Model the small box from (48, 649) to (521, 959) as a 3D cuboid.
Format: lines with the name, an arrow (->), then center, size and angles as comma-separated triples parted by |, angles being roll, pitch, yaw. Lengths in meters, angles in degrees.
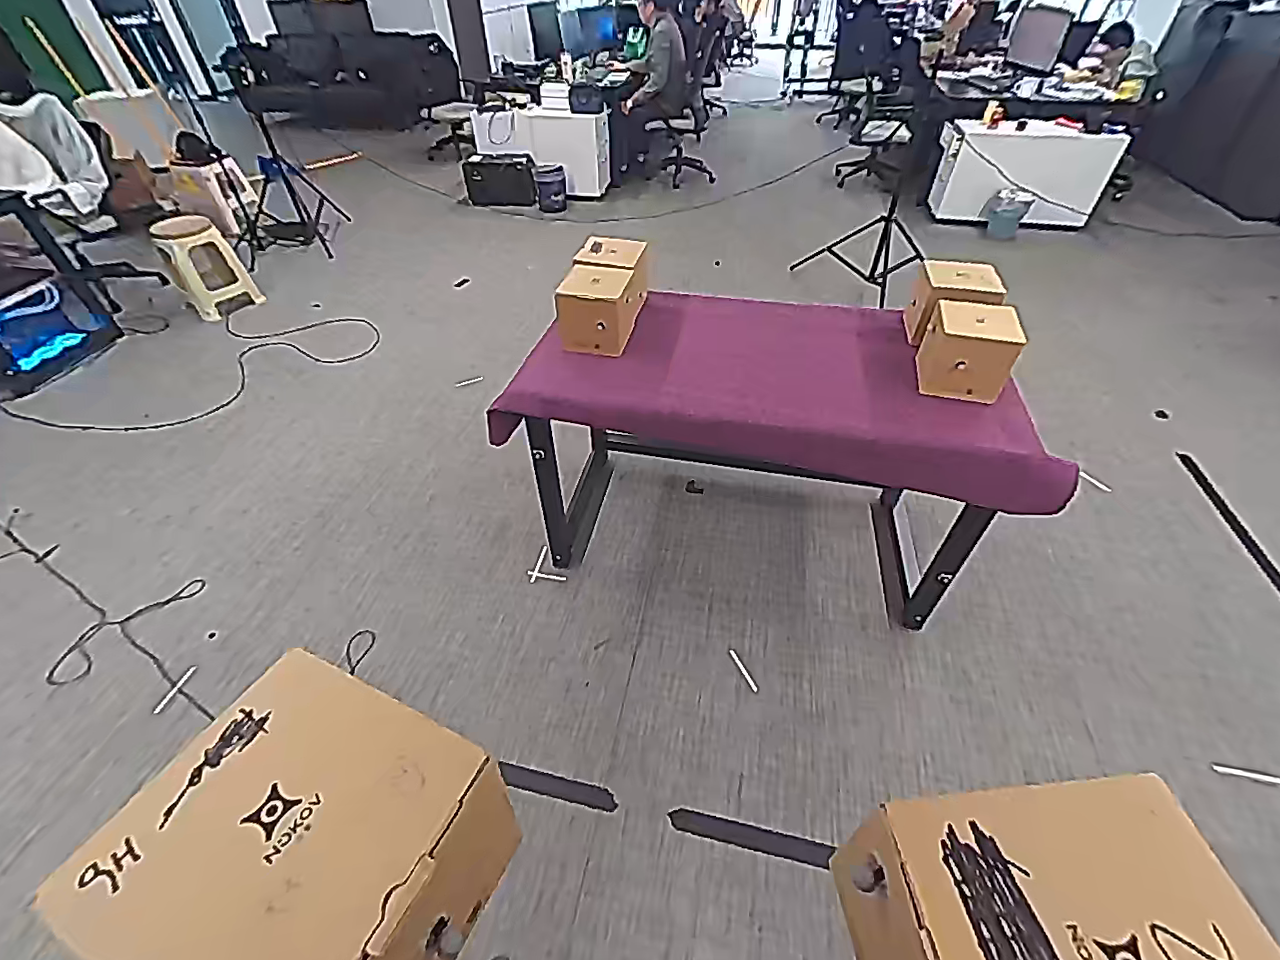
small box -> -0.199, 0.254, 0.364 | 0.179, 0.176, 0.168 | 19, 45, 17

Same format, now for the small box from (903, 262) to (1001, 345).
small box -> 0.819, -0.463, 1.444 | 0.179, 0.176, 0.168 | 9, 46, 9

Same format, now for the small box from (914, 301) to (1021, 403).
small box -> 0.772, -0.305, 1.293 | 0.168, 0.176, 0.179 | 11, 45, 13

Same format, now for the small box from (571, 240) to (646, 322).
small box -> -0.086, -0.578, 1.576 | 0.179, 0.176, 0.168 | 11, 47, 10
